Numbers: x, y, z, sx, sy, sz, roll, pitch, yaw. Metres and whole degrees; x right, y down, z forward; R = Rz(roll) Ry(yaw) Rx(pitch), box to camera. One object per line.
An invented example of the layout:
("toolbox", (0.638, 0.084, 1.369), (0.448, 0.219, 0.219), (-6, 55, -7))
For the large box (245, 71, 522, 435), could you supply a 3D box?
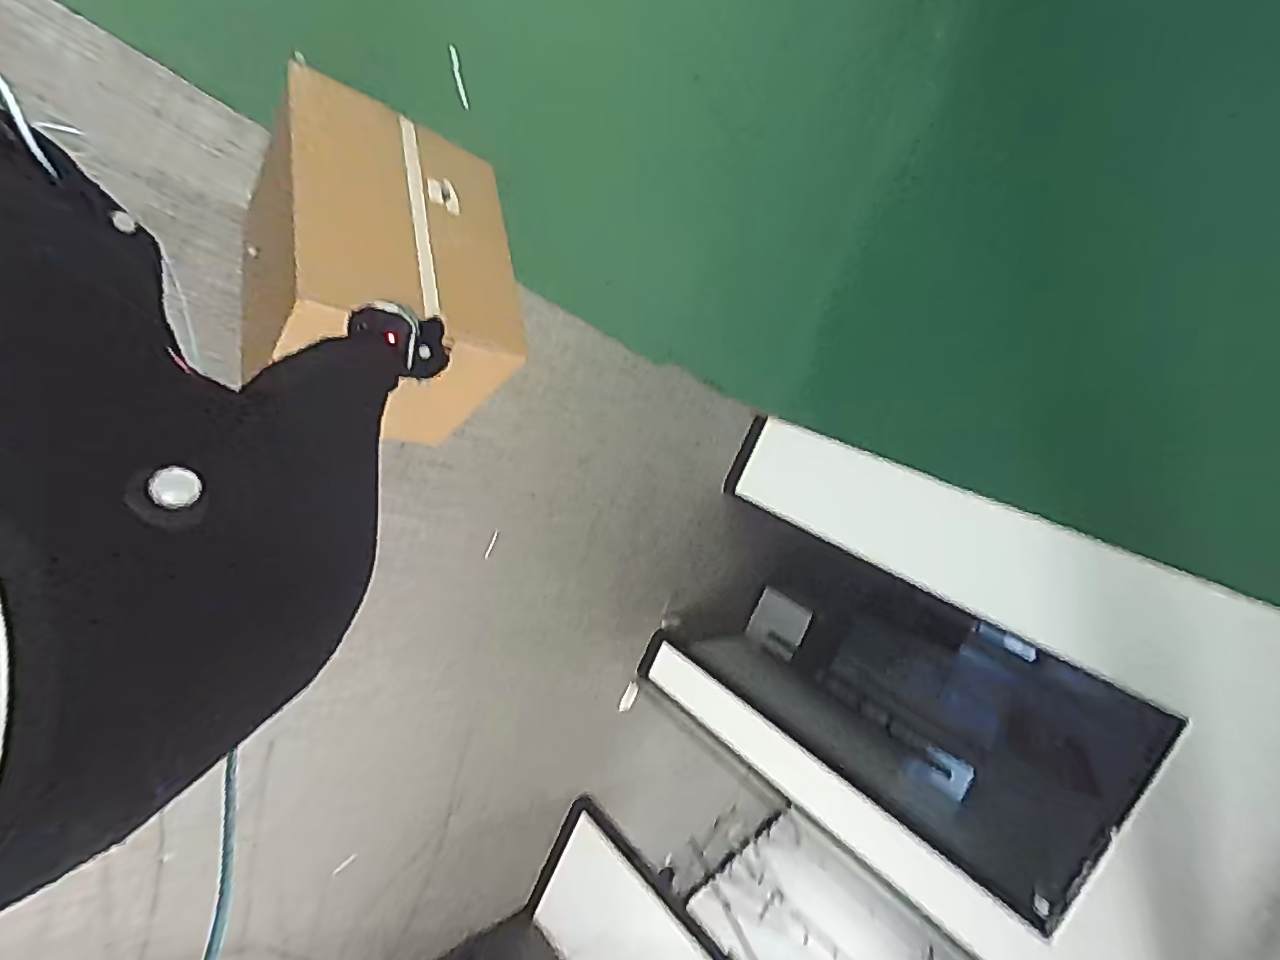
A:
("large box", (-0.439, -0.326, 0.895), (0.320, 0.408, 0.320), (5, 152, -46))
